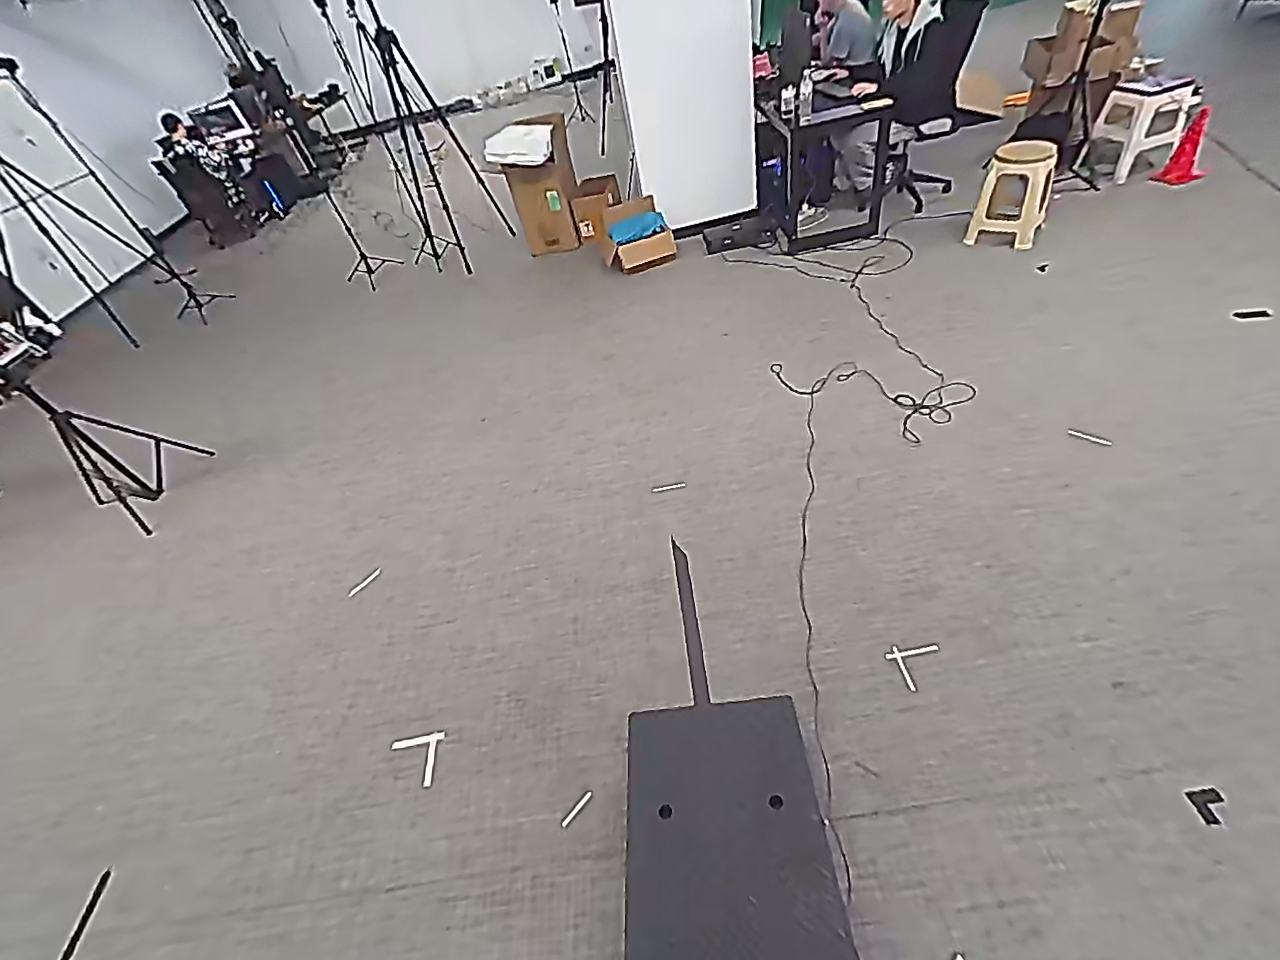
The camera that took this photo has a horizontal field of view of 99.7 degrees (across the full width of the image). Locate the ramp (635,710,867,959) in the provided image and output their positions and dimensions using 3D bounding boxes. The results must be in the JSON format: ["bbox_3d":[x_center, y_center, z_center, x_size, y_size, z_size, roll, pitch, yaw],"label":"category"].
[{"bbox_3d":[0.228,0.993,1.198,0.509,0.206,0.991,-13,42,5],"label":"ramp"}]
